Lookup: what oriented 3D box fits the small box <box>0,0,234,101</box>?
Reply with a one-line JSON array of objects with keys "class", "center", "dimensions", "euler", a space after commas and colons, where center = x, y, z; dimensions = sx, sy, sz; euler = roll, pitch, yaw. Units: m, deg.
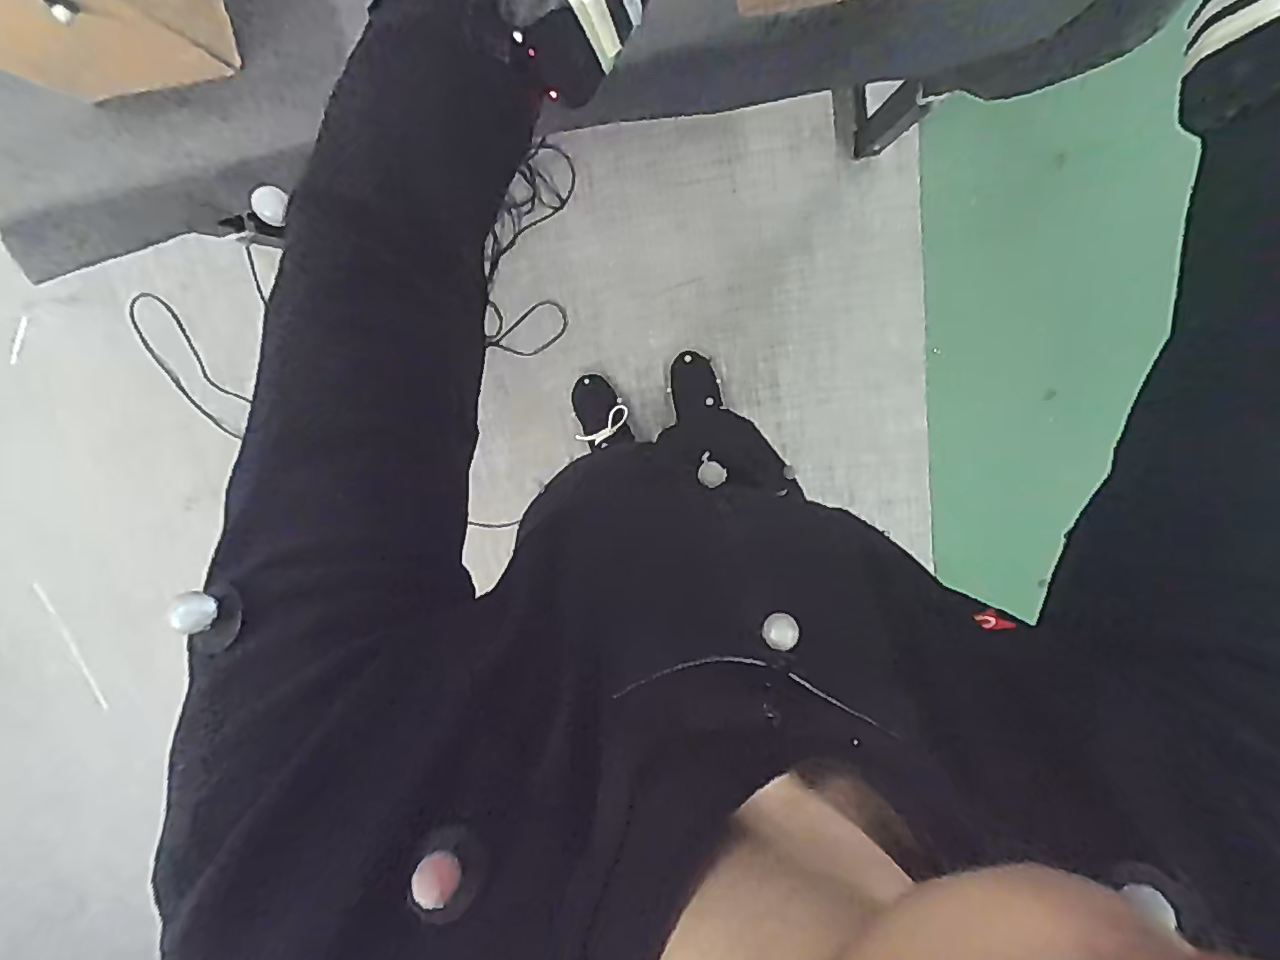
[{"class": "small box", "center": [-0.494, -0.443, 0.441], "dimensions": [0.179, 0.176, 0.168], "euler": [-7, 104, 4]}]
